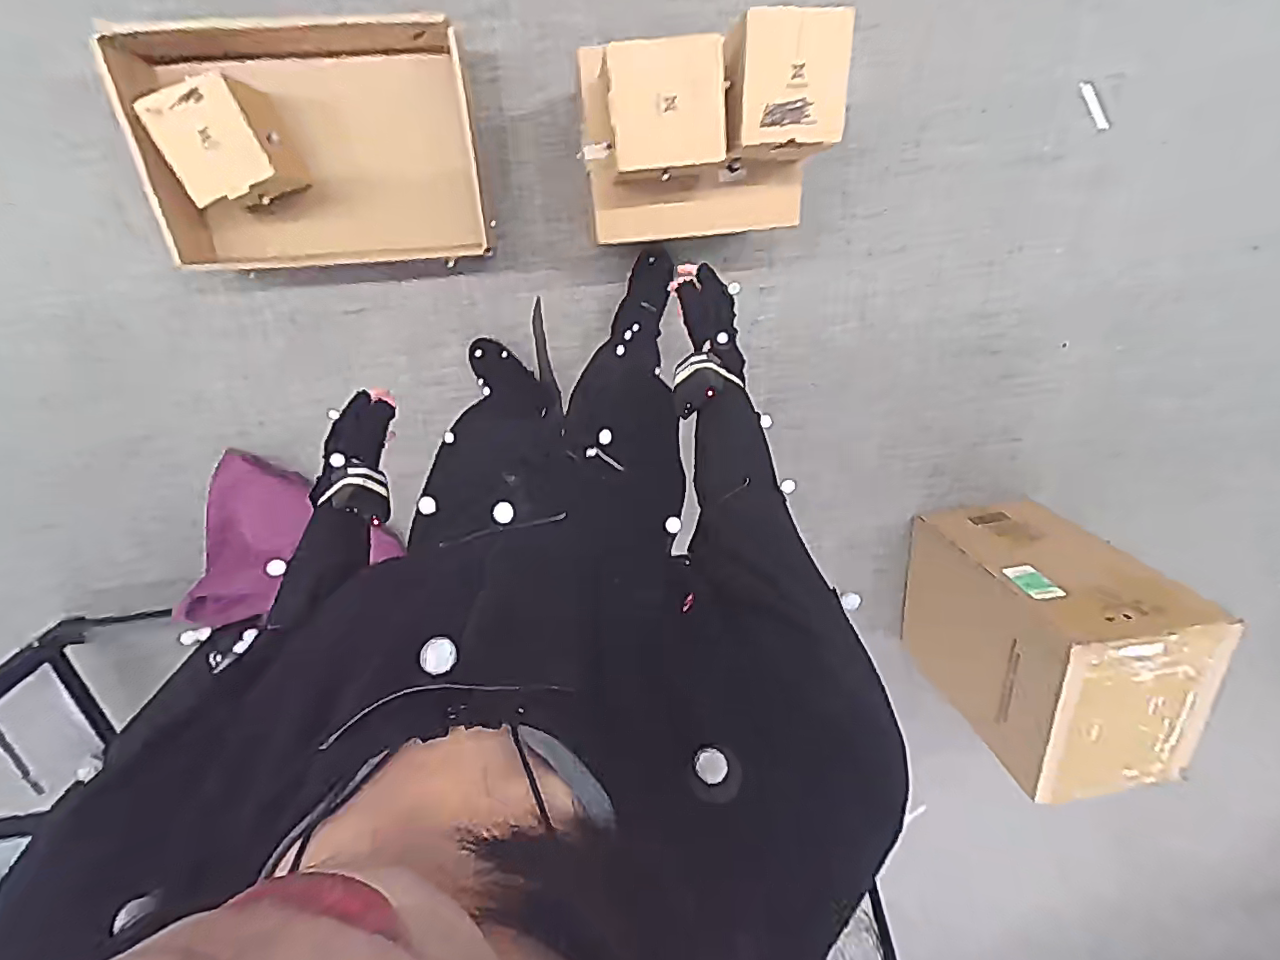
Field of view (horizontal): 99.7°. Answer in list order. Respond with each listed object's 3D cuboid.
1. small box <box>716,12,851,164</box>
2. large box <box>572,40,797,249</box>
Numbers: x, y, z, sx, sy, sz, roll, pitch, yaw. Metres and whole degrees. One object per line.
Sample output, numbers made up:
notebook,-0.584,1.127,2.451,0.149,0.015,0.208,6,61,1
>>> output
small box,0.227,-0.639,0.905,0.168,0.176,0.179,-3,112,-6
large box,0.081,-0.676,1.137,0.408,0.320,0.320,-8,114,-5
